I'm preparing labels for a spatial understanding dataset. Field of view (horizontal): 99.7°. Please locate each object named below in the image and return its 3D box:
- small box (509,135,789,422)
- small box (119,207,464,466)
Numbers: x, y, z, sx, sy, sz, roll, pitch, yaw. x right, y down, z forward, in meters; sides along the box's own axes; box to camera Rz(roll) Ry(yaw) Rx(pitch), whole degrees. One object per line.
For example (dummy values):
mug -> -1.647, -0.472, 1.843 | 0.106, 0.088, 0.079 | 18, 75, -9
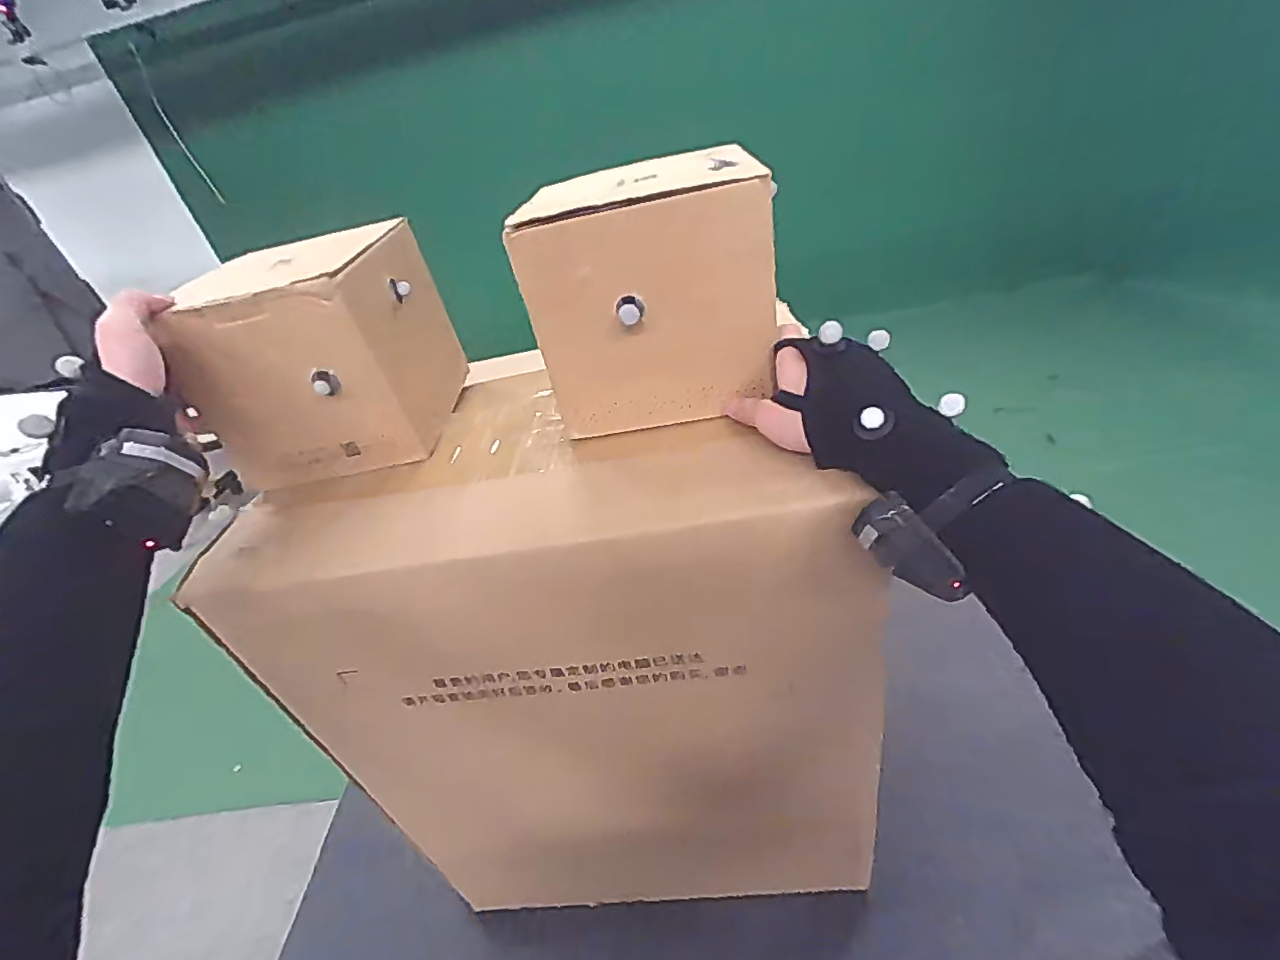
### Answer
small box -> 0.016, -0.164, 0.445 | 0.179, 0.176, 0.168 | -9, 36, 6
small box -> -0.276, -0.125, 0.487 | 0.168, 0.176, 0.179 | -9, 36, 3
